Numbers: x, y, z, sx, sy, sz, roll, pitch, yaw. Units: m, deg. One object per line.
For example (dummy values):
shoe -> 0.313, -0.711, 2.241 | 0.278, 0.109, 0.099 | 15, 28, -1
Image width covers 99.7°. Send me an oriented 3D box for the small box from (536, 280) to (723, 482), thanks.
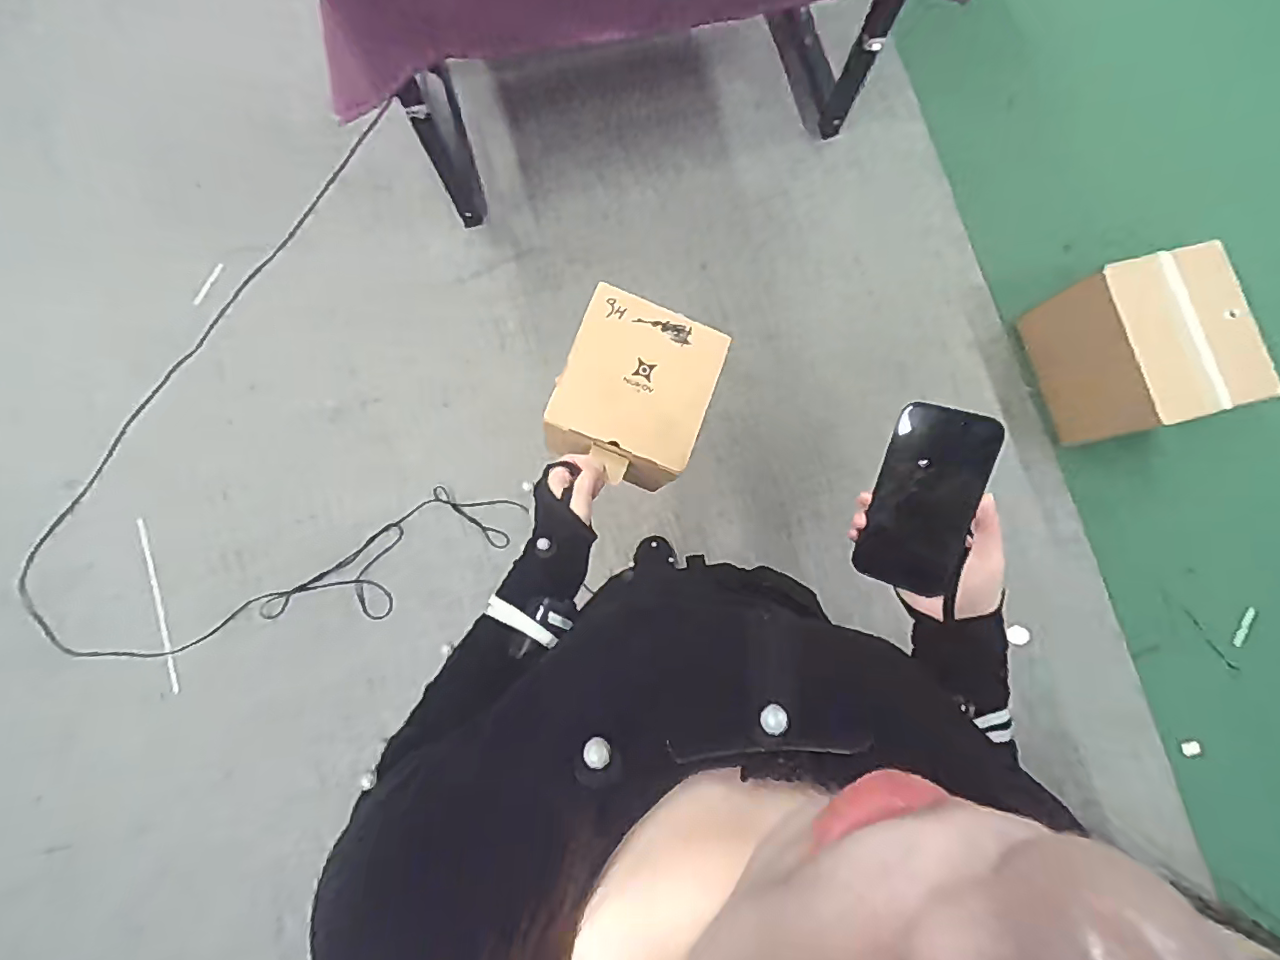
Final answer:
small box -> -0.018, -0.106, 0.674 | 0.168, 0.176, 0.179 | 20, 81, -6
